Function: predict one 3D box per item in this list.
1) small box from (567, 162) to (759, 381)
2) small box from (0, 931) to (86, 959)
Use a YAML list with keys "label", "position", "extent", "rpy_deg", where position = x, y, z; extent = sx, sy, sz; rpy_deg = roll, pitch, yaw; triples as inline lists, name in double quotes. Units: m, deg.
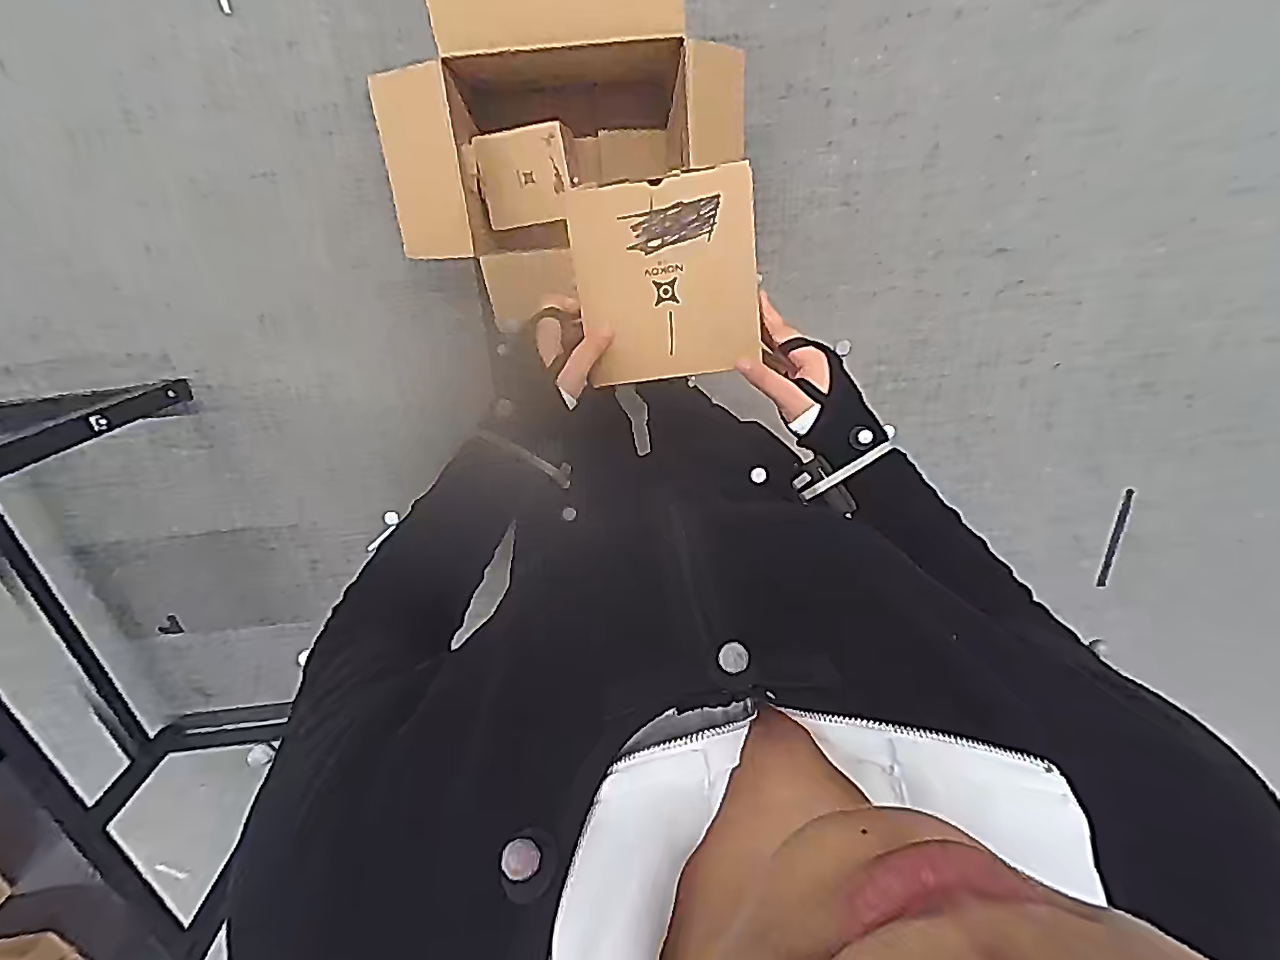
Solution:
- label: "small box"
  position: [0.028, -0.207, 0.569]
  extent: [0.168, 0.176, 0.179]
  rpy_deg: [-5, 108, 6]
- label: "small box"
  position: [-1.223, 1.005, 1.034]
  extent: [0.179, 0.176, 0.168]
  rpy_deg: [-10, 114, 2]
